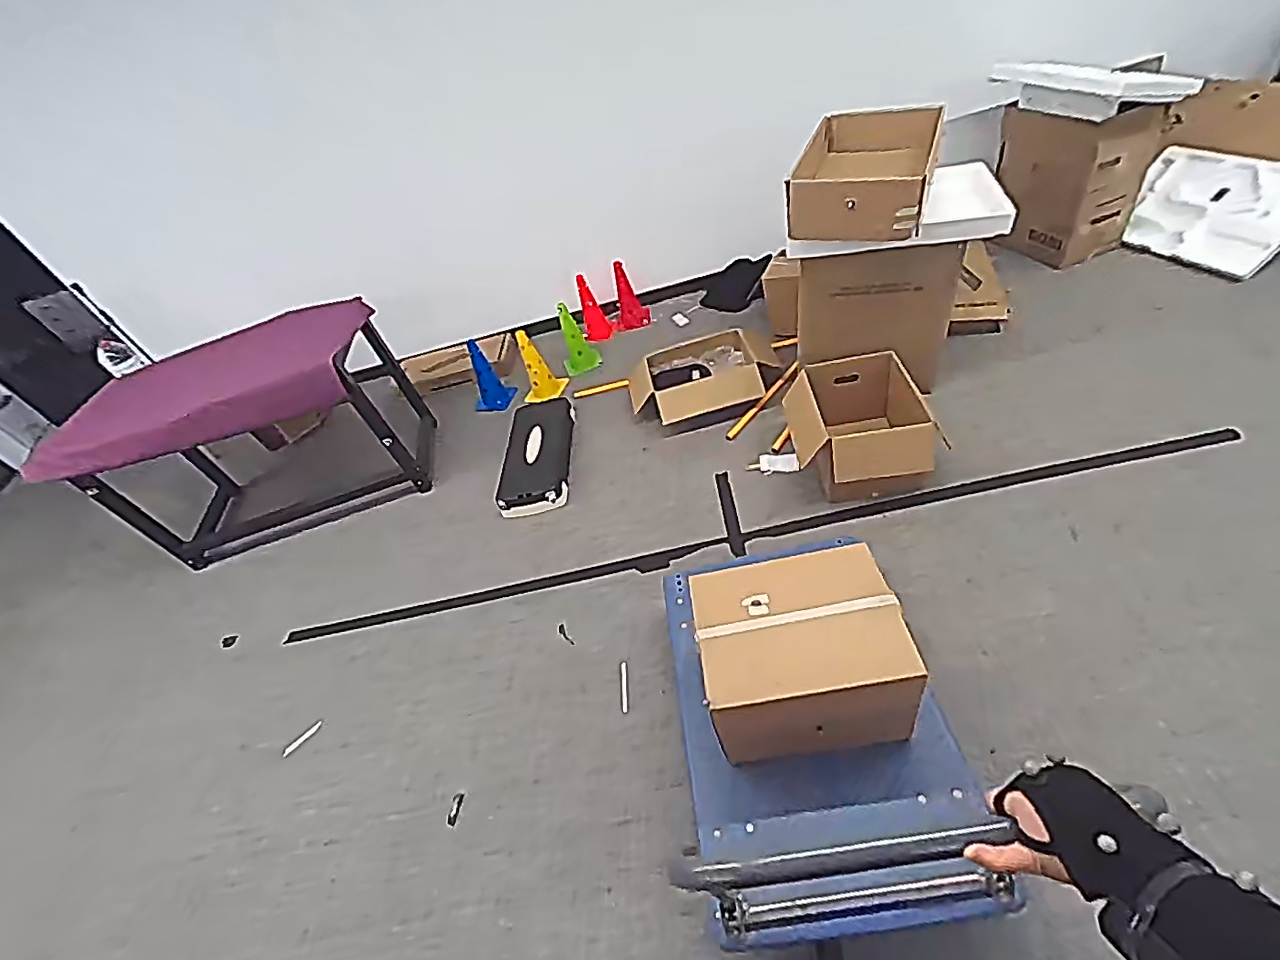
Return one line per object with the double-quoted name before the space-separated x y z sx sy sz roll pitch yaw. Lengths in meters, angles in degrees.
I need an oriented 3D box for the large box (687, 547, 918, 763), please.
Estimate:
"large box" 0.351 0.402 1.226 0.408 0.320 0.320 -14 42 7
